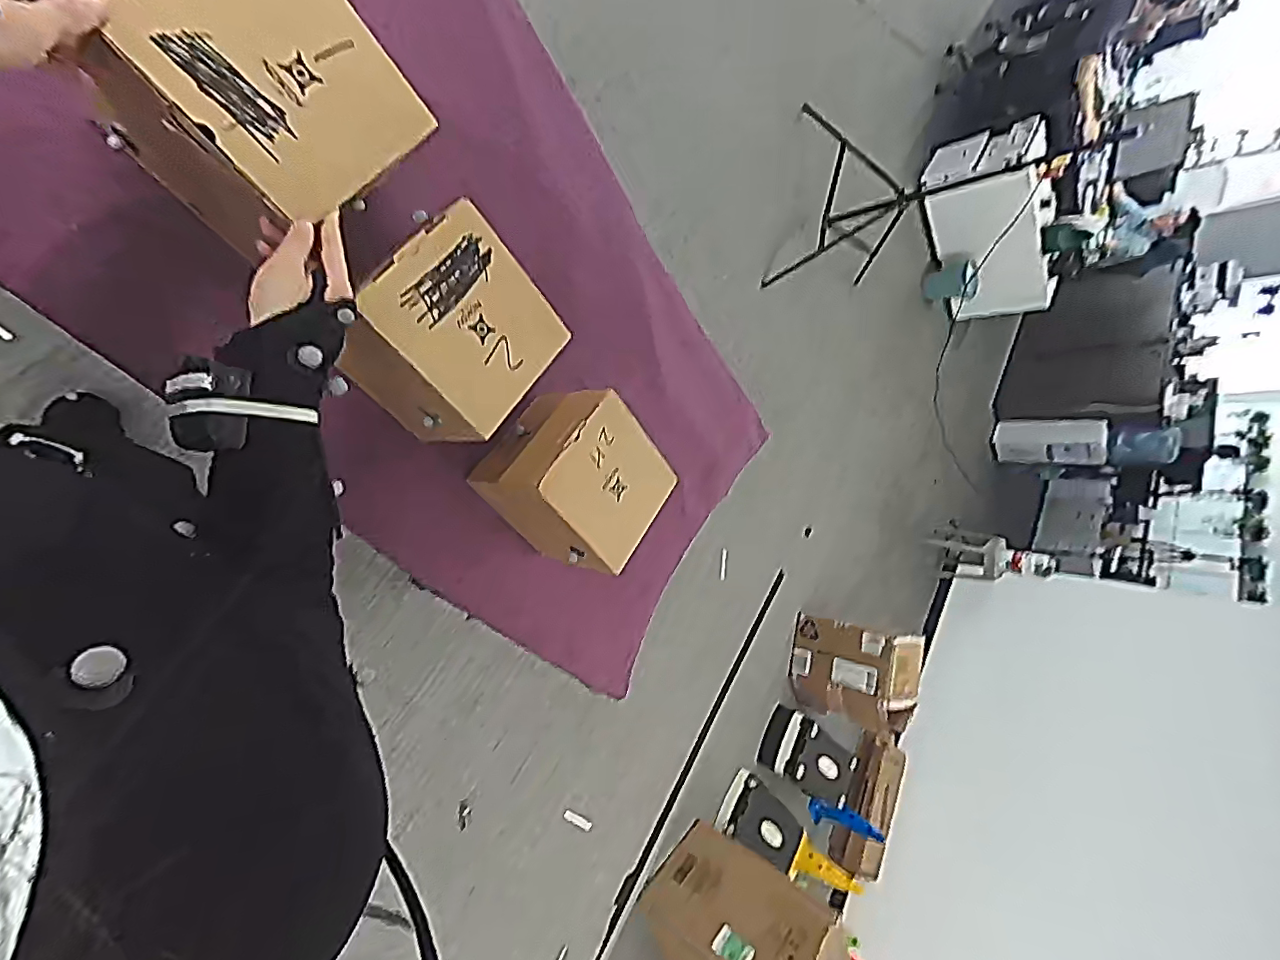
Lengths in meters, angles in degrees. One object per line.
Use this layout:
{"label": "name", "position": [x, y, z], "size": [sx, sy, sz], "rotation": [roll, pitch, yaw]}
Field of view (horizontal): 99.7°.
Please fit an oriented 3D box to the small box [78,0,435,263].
{"label": "small box", "position": [-0.328, -0.322, 0.479], "size": [0.168, 0.176, 0.179], "rotation": [51, 59, -35]}
